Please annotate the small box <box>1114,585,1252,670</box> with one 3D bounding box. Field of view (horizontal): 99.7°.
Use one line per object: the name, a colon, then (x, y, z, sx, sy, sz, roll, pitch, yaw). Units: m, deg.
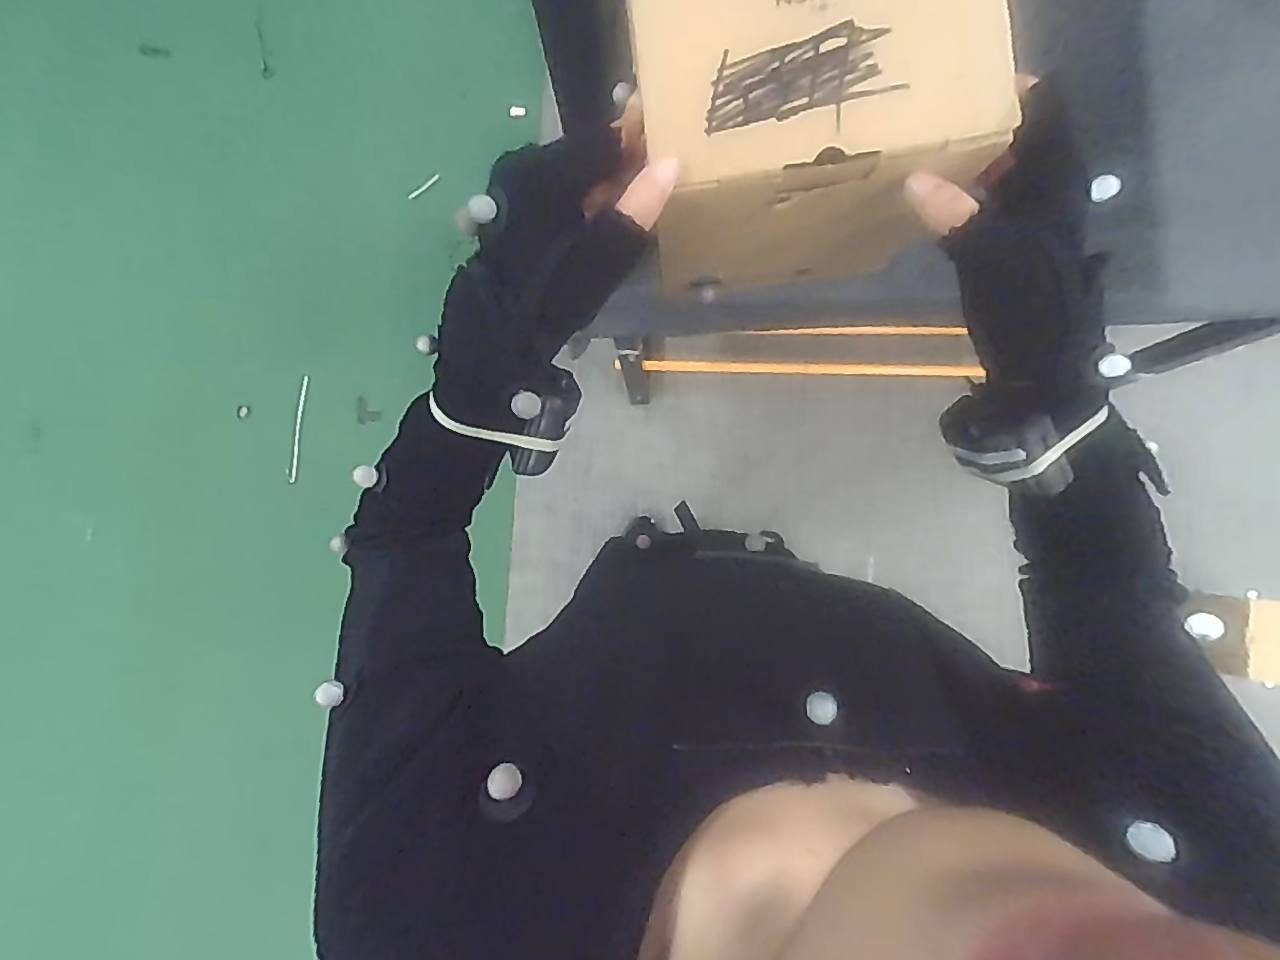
small box: (1.330, 0.354, 1.333, 0.179, 0.176, 0.168, 7, 83, 4)
